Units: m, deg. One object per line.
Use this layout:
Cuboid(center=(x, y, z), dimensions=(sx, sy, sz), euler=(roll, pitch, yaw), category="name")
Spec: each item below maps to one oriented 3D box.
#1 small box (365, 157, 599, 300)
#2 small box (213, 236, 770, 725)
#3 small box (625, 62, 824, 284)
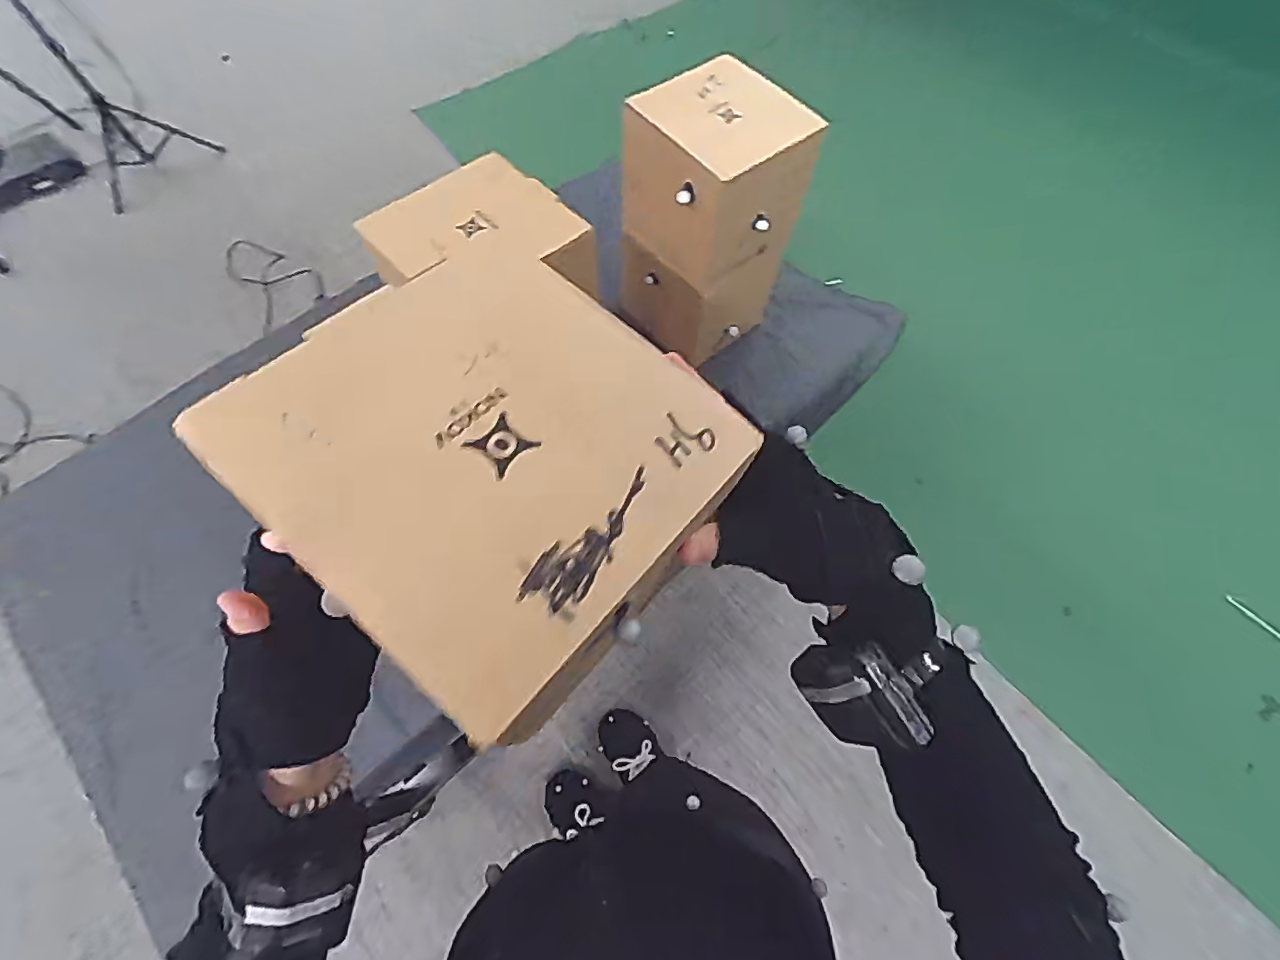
Cuboid(center=(-0.162, -0.214, 0.613), dimensions=(0.179, 0.176, 0.168), euler=(-40, 71, -18), category="small box")
Cuboid(center=(-0.066, 0.014, 0.301), dimensions=(0.179, 0.176, 0.168), euler=(41, 68, 12), category="small box")
Cuboid(center=(0.097, -0.383, 0.700), dimensions=(0.168, 0.176, 0.179), euler=(-35, 70, -17), category="small box")
